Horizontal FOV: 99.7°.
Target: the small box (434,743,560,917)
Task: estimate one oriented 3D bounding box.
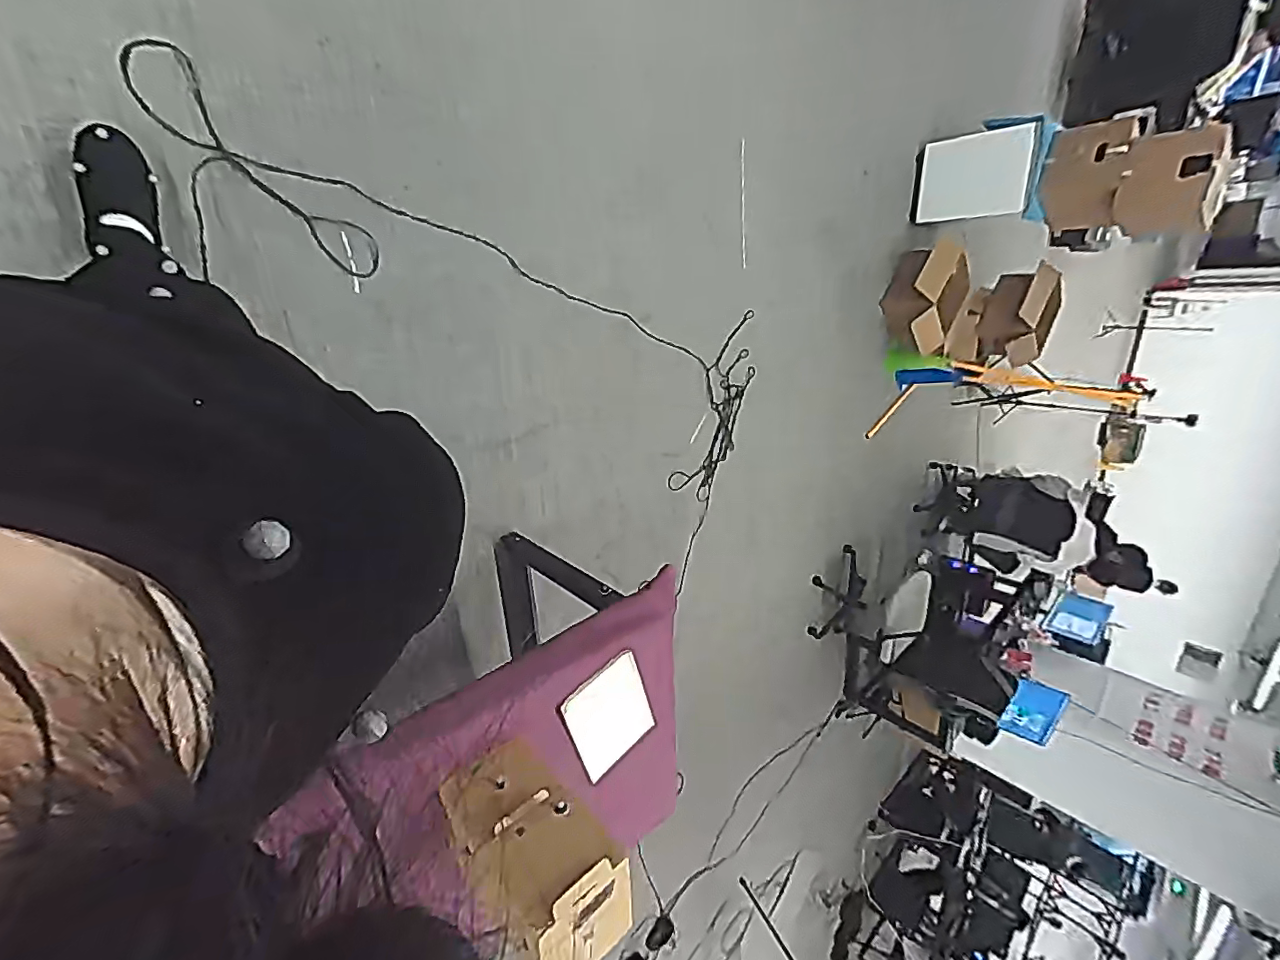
[{"bbox_3d":[-0.255,0.613,0.980,0.168,0.176,0.179,-19,115,-38],"label":"small box"}]

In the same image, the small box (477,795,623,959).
[{"bbox_3d":[-0.144,0.645,0.861,0.168,0.176,0.179,-19,117,-39],"label":"small box"}]
